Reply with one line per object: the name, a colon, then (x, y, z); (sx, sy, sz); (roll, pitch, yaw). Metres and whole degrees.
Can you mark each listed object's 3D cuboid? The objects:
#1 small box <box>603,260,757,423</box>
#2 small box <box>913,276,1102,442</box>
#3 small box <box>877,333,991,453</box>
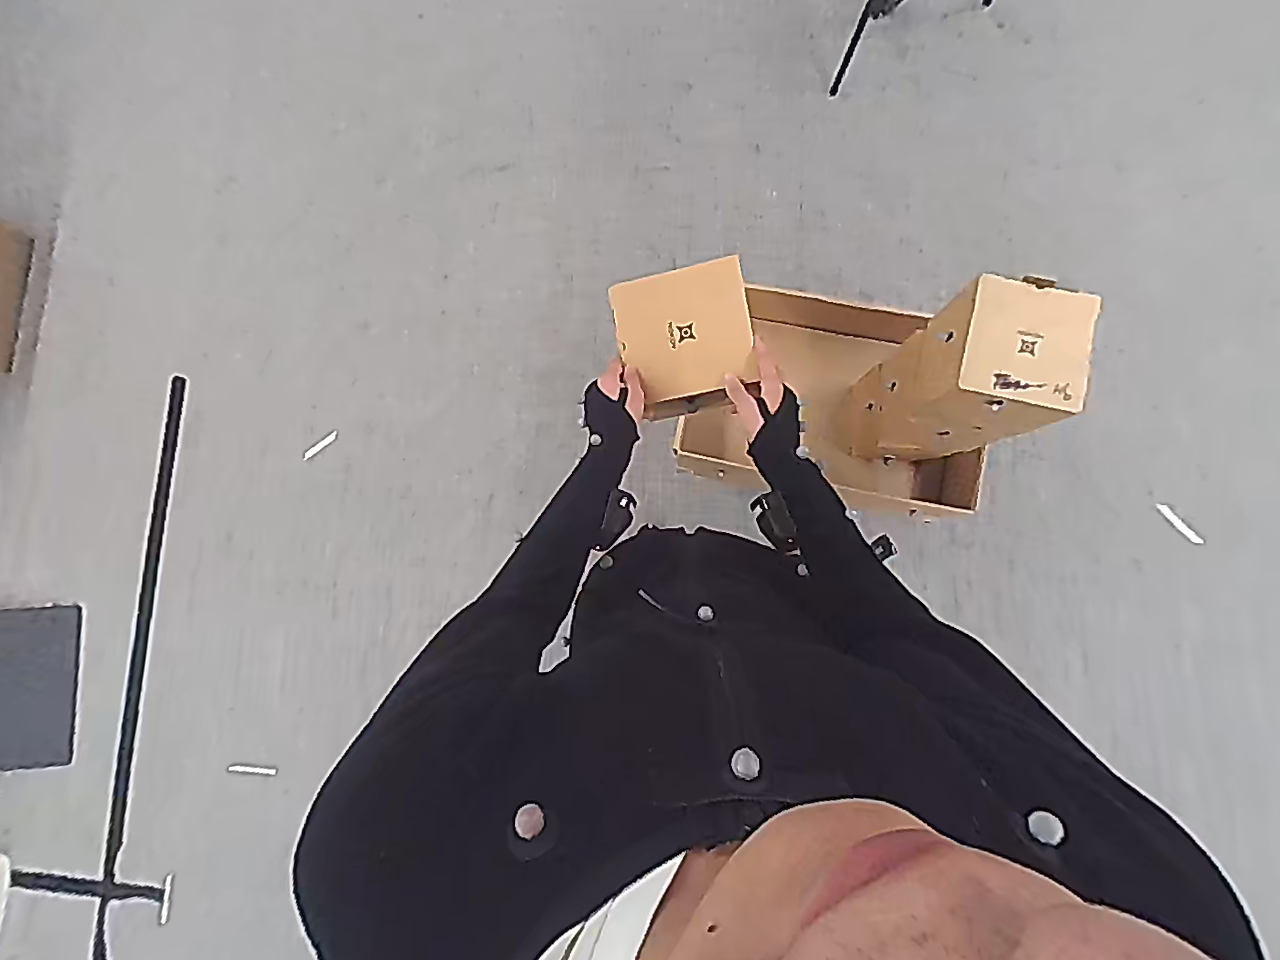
small box: (0.063, -0.182, 0.766); (0.179, 0.176, 0.168); (-11, 88, 12)
small box: (0.539, -0.173, 0.817); (0.168, 0.176, 0.179); (14, 83, 7)
small box: (0.548, -0.149, 0.979); (0.179, 0.176, 0.168); (8, 84, 5)
